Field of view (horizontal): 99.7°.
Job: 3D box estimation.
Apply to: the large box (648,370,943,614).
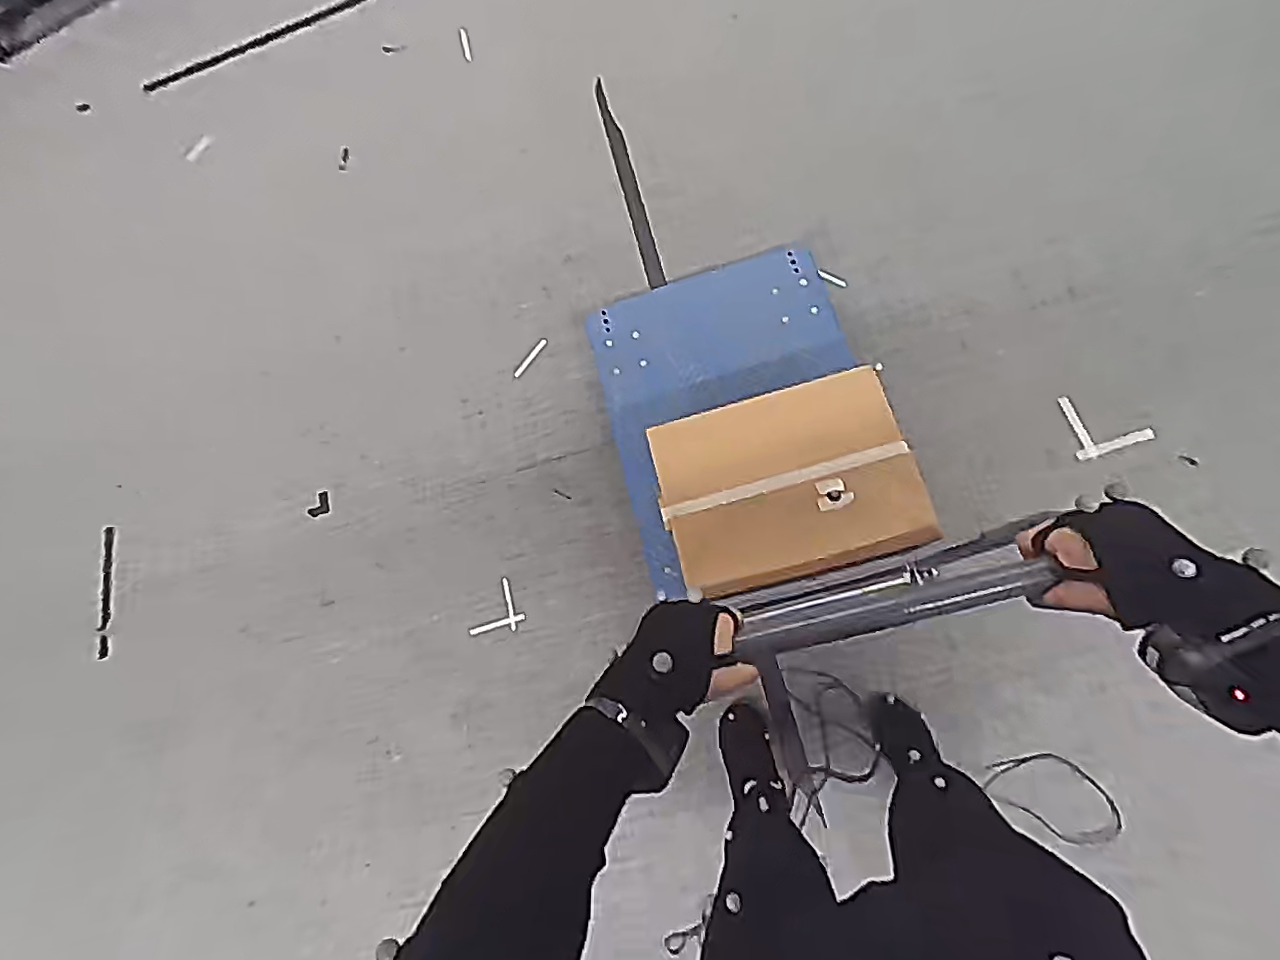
[{"bbox_3d":[0.259,0.048,1.018,0.408,0.320,0.320,-16,74,5],"label":"large box"}]
